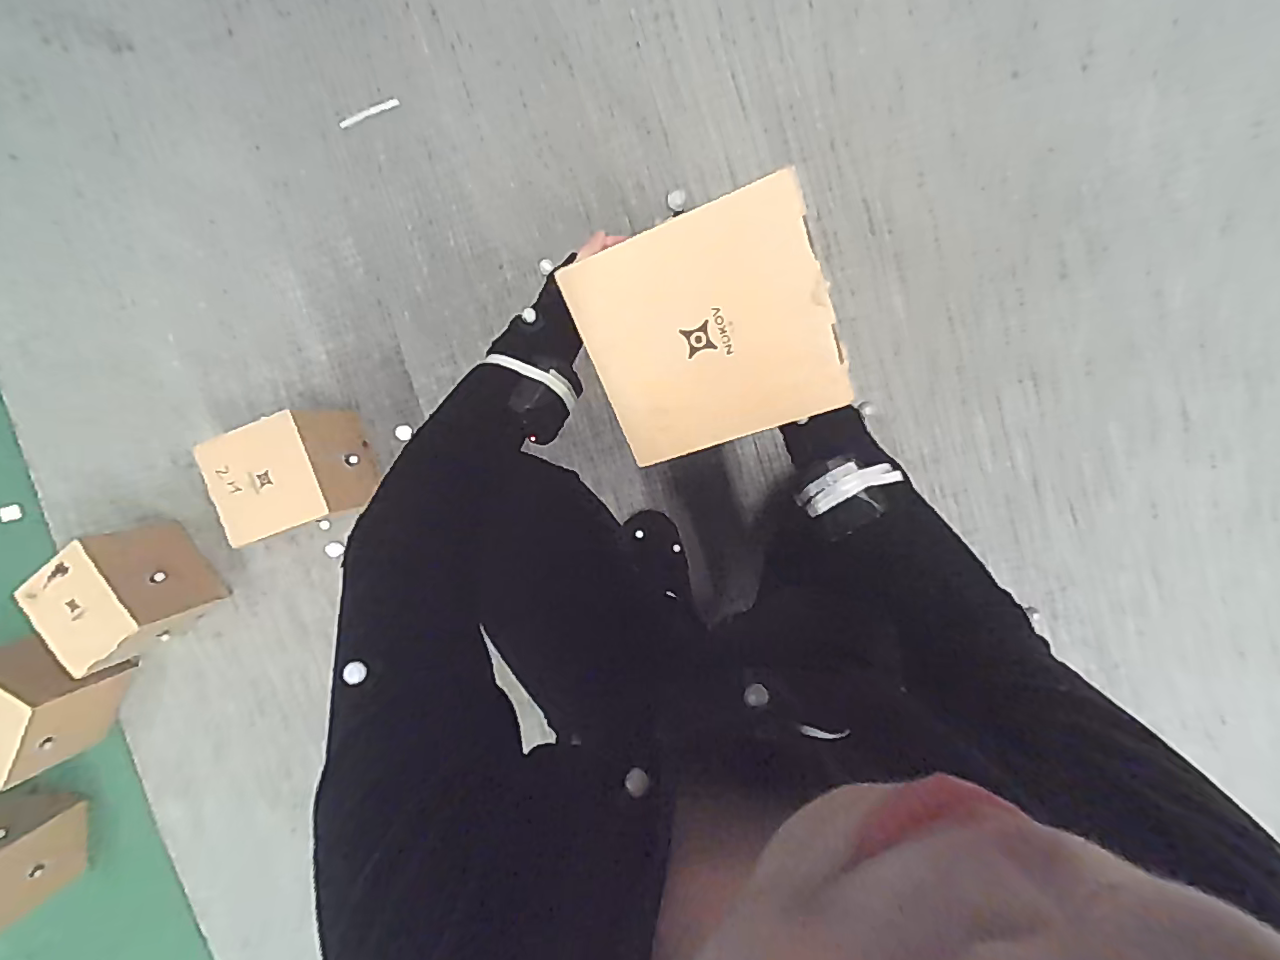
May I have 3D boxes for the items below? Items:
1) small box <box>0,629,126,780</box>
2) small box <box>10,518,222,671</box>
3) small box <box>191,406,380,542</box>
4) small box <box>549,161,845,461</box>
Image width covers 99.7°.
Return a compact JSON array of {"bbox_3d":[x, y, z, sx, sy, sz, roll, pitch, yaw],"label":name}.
[{"bbox_3d":[-1.106,0.394,0.986,0.168,0.176,0.179,29,97,3],"label":"small box"},{"bbox_3d":[-0.893,0.189,0.940,0.168,0.176,0.179,-35,91,9],"label":"small box"},{"bbox_3d":[-0.556,-0.016,0.879,0.179,0.176,0.168,-18,93,8],"label":"small box"},{"bbox_3d":[0.057,-0.141,0.457,0.179,0.176,0.168,-17,113,20],"label":"small box"}]
